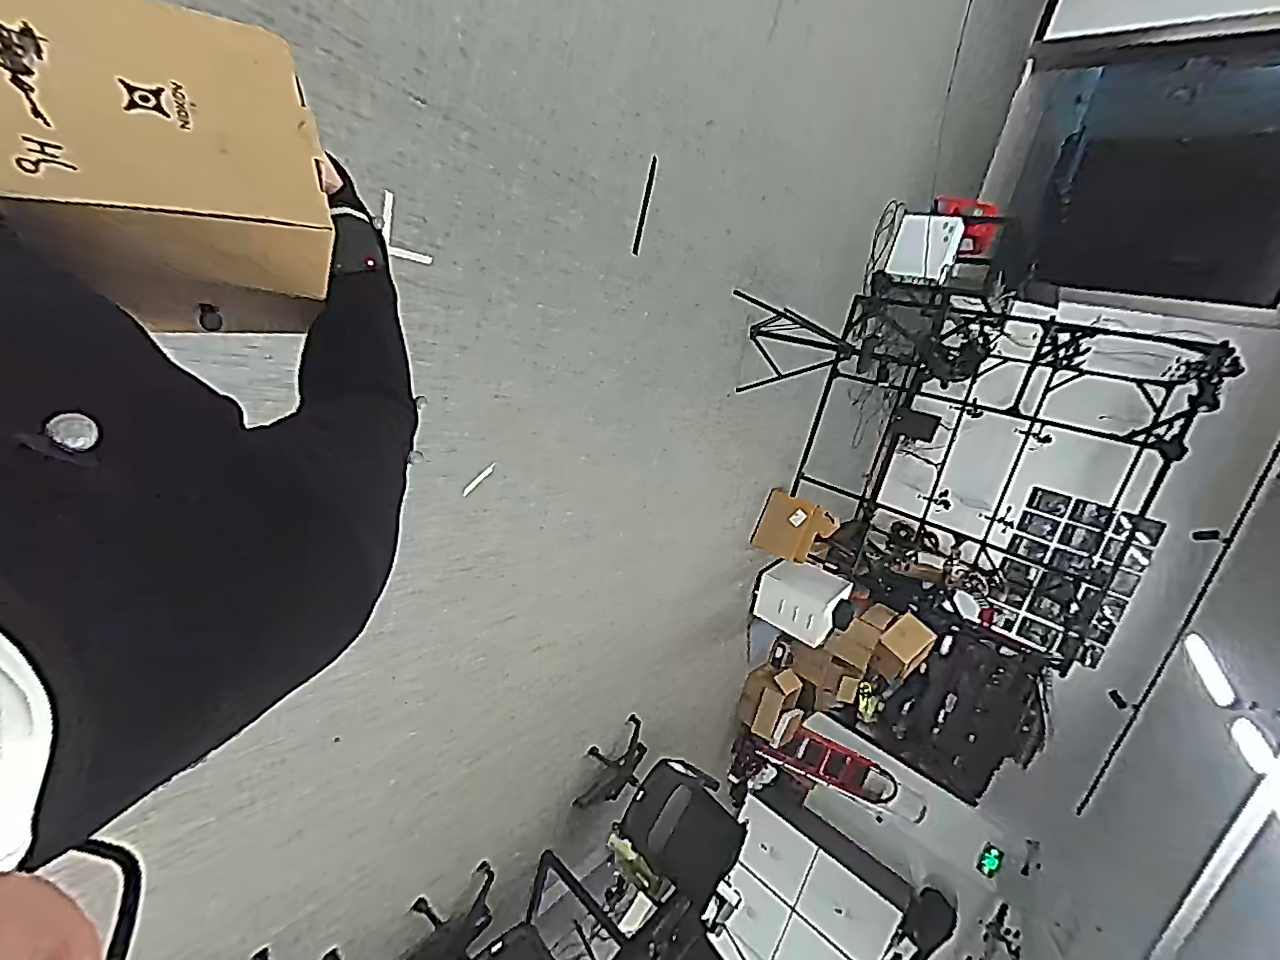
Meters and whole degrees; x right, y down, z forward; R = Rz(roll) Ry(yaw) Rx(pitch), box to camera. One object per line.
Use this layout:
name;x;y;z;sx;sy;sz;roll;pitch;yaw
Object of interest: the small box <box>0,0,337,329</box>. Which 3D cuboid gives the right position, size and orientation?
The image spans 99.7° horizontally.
small box;-0.370;-0.236;0.443;0.179;0.176;0.168;-11;81;-37
